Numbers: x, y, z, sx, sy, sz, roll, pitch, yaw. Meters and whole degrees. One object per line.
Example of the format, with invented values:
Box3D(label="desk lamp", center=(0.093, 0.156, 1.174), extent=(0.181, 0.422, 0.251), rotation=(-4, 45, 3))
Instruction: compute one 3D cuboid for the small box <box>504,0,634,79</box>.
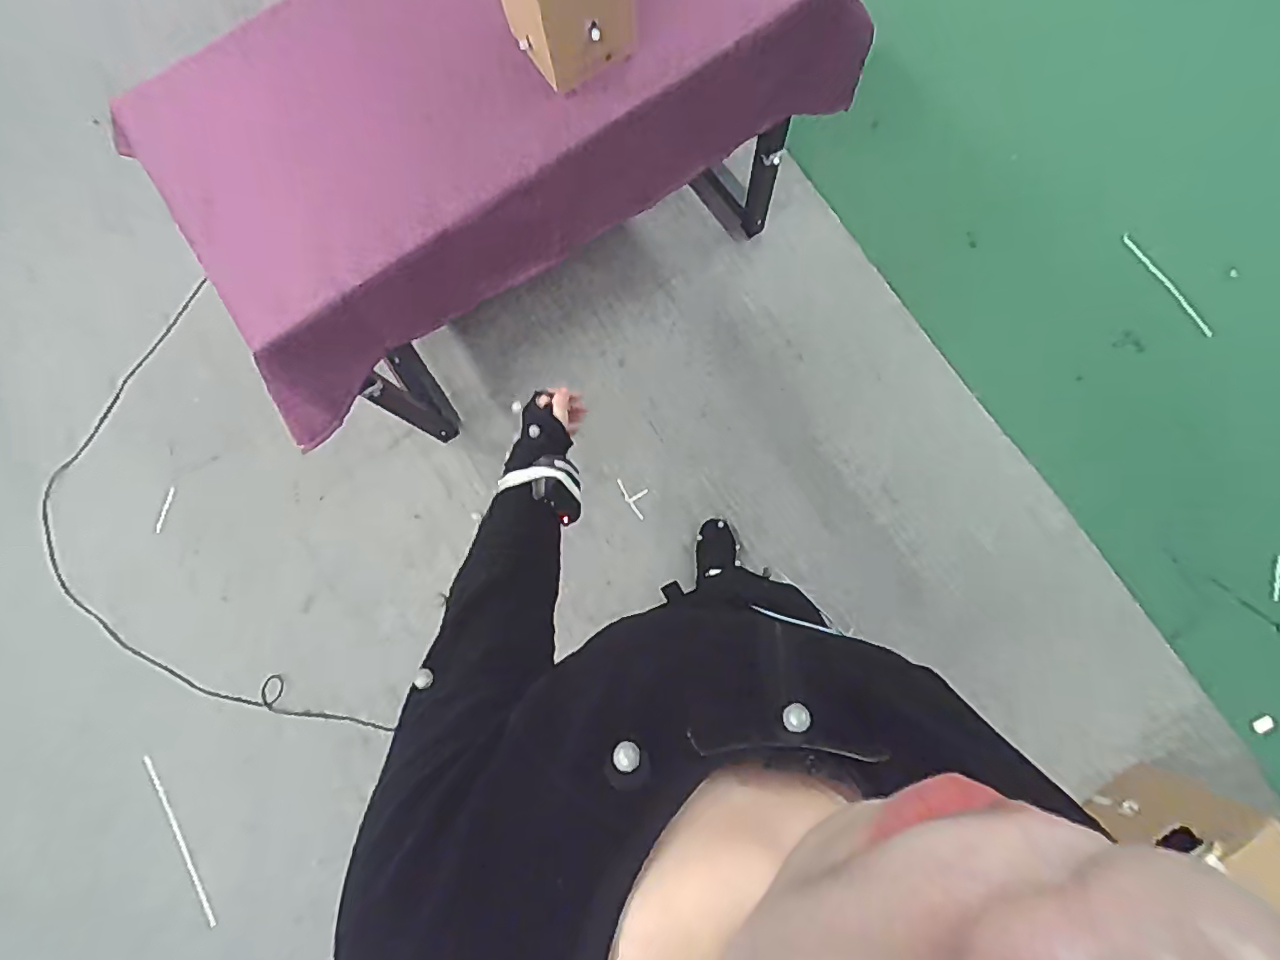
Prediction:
Box3D(label="small box", center=(-0.122, -0.798, 0.872), extent=(0.168, 0.176, 0.179), rotation=(-33, 81, -2))
